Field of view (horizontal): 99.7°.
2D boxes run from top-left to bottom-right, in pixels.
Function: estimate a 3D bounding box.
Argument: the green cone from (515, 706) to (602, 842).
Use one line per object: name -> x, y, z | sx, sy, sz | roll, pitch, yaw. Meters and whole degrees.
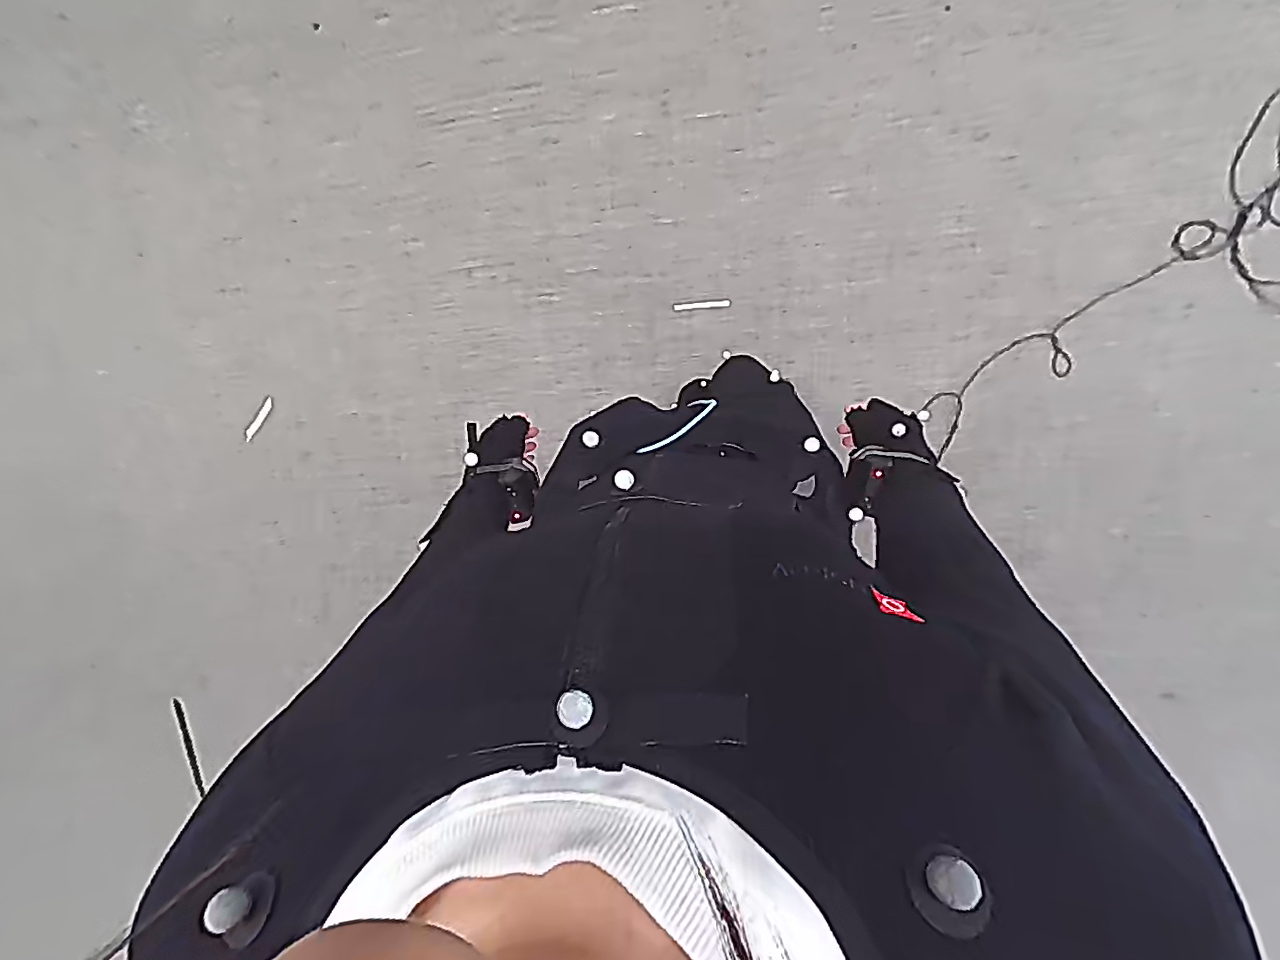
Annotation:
green cone -> -0.244, 0.807, 1.461 | 0.202, 0.368, 0.200 | -2, 101, 10
